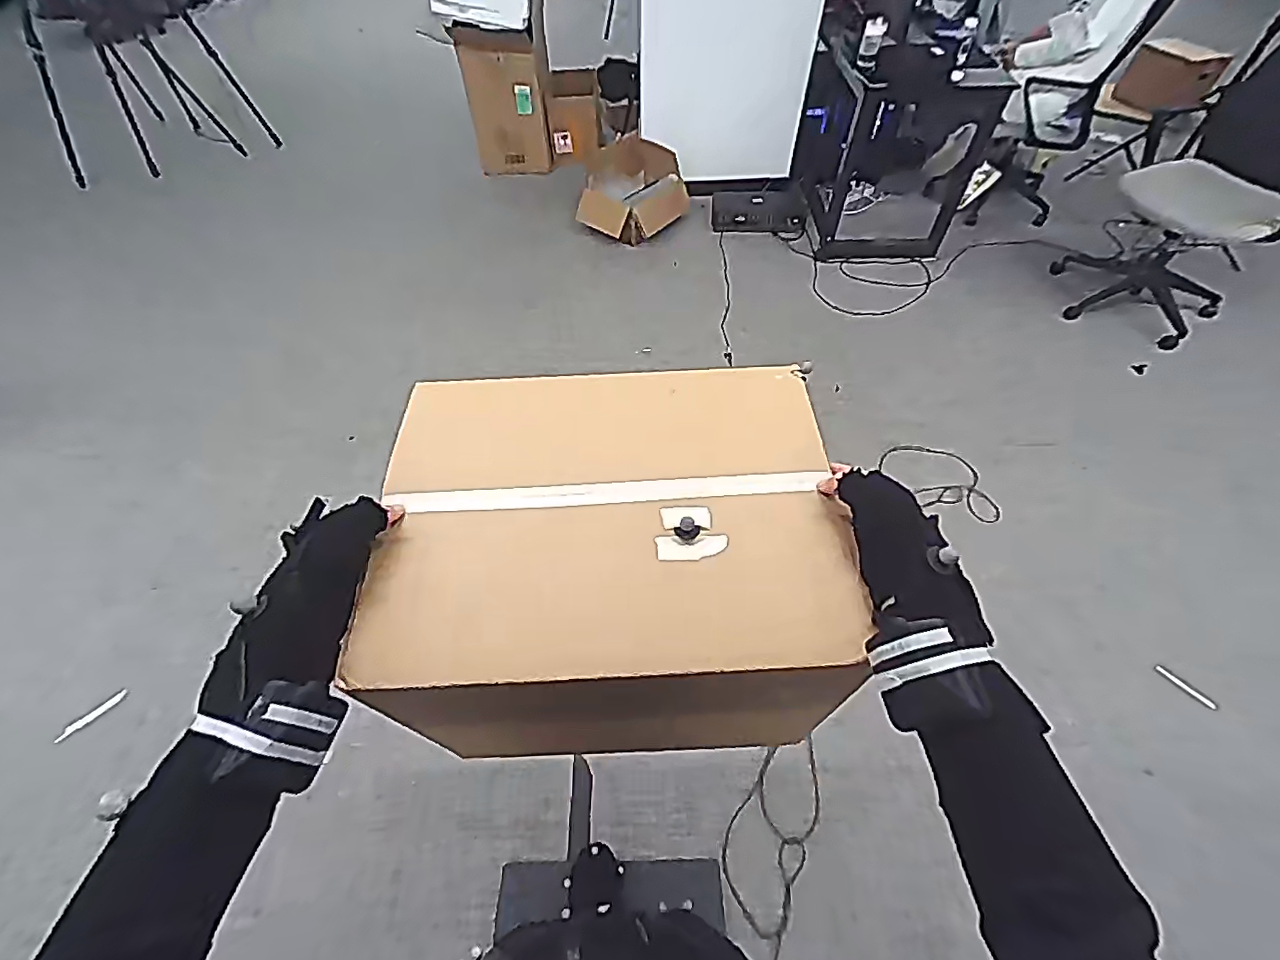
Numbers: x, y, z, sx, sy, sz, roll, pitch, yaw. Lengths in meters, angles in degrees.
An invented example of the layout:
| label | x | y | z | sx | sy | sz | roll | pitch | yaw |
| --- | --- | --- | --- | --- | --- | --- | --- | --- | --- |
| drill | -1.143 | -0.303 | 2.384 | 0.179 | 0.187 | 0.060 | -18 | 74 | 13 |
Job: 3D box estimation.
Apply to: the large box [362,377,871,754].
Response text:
| label | x | y | z | sx | sy | sz | roll | pitch | yaw |
| --- | --- | --- | --- | --- | --- | --- | --- | --- | --- |
| large box | -0.022 | 0.109 | 0.621 | 0.408 | 0.320 | 0.320 | -3 | 55 | 0 |

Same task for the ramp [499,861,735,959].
| label | x | y | z | sx | sy | sz | roll | pitch | yaw |
| --- | --- | --- | --- | --- | --- | --- | --- | --- | --- |
| ramp | -0.045 | 1.219 | 0.874 | 0.509 | 0.206 | 0.991 | -3 | 53 | 0 |
